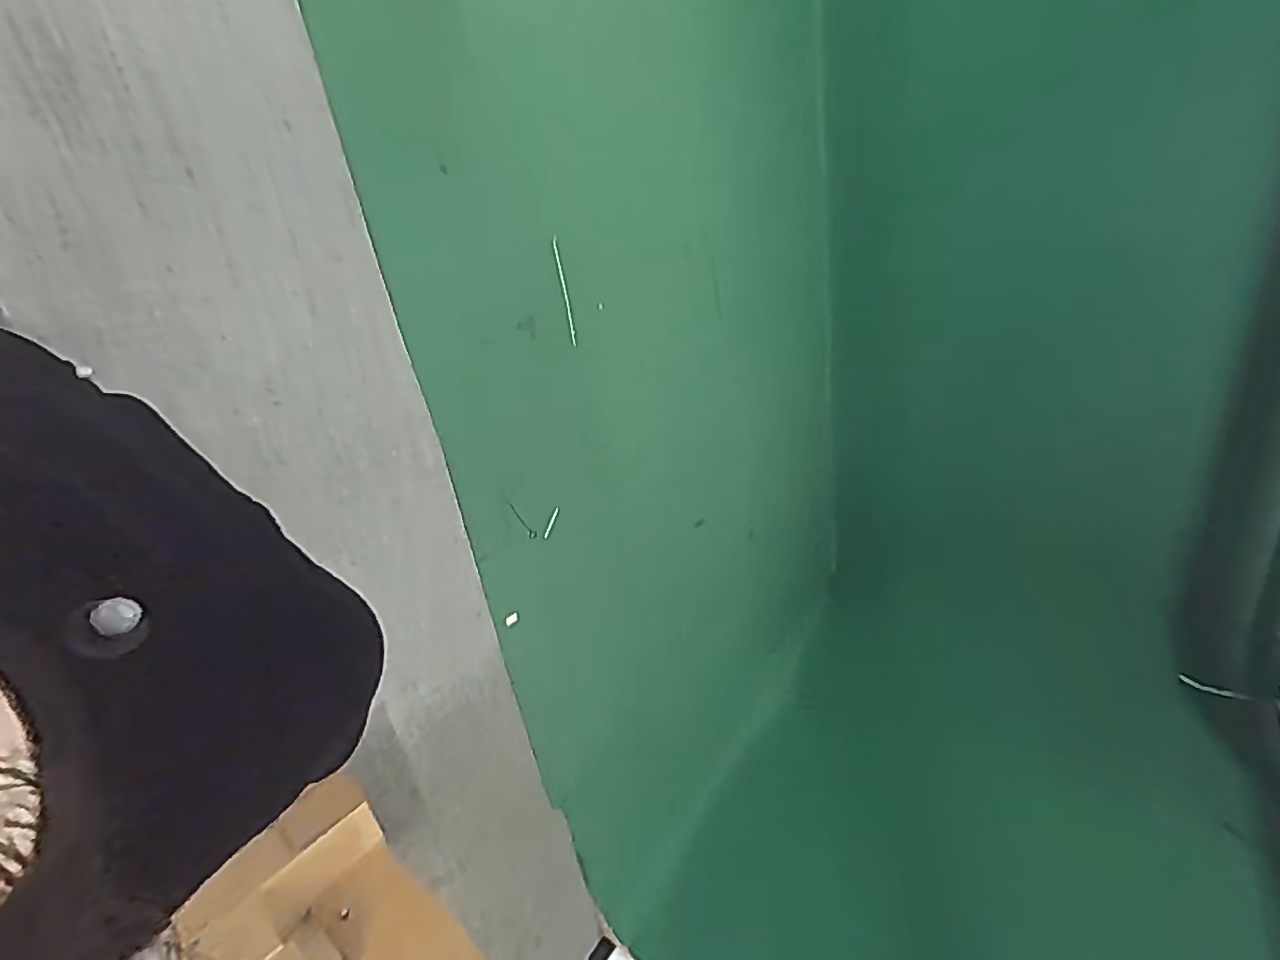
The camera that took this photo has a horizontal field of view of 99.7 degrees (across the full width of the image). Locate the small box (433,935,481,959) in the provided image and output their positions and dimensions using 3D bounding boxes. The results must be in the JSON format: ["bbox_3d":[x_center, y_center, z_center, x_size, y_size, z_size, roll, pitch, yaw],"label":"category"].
[{"bbox_3d":[-0.362,1.055,1.045,0.179,0.176,0.168,-32,124,-44],"label":"small box"}]

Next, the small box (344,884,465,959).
[{"bbox_3d":[-0.486,1.022,1.149,0.179,0.176,0.168,-33,124,-42],"label":"small box"}]

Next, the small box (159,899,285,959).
[{"bbox_3d":[-0.778,0.958,1.024,0.168,0.176,0.179,-27,119,-45],"label":"small box"}]

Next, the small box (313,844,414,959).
[{"bbox_3d":[-0.617,0.999,1.242,0.179,0.176,0.168,-35,126,-43],"label":"small box"}]
